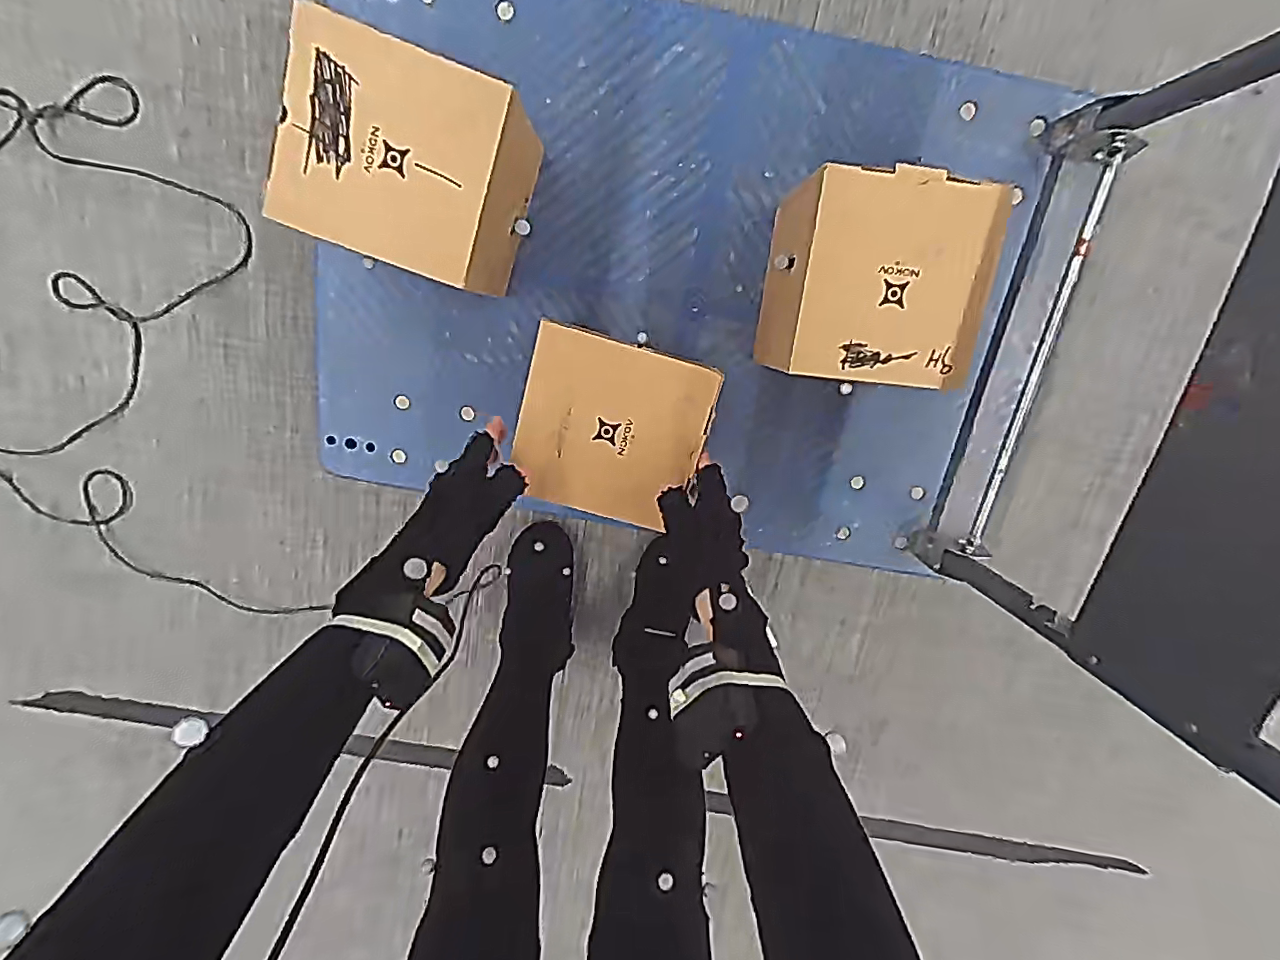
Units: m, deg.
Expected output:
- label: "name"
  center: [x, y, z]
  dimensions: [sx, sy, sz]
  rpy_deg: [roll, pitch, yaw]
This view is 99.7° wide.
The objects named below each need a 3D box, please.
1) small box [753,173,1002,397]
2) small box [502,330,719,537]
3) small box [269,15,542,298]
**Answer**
- label: "small box"
  center: [0.222, -0.188, 0.559]
  dimensions: [0.168, 0.176, 0.179]
  rpy_deg: [6, 104, -1]
- label: "small box"
  center: [-0.030, -0.059, 0.594]
  dimensions: [0.179, 0.176, 0.168]
  rpy_deg: [16, 103, -3]
- label: "small box"
  center: [-0.211, -0.286, 0.529]
  dimensions: [0.179, 0.176, 0.168]
  rpy_deg: [19, 104, -7]
